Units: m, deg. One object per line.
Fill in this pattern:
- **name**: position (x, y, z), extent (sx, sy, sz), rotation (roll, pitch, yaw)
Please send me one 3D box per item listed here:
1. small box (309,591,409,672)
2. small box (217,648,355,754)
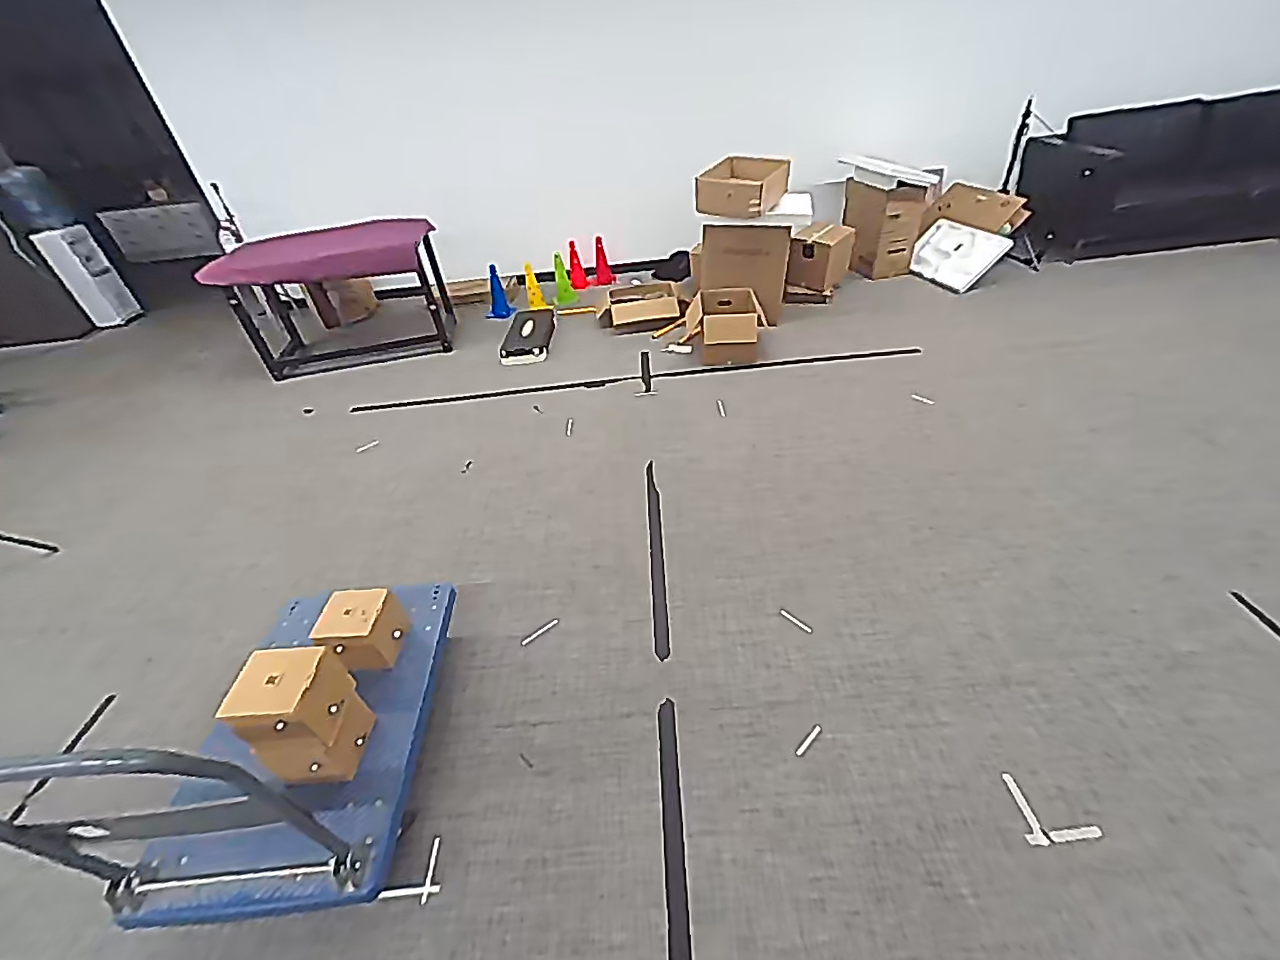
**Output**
- **small box**: position (-0.811, 0.445, 1.580), extent (0.179, 0.176, 0.168), rotation (-4, 39, 3)
- **small box**: position (-0.797, 0.509, 1.239), extent (0.179, 0.176, 0.168), rotation (-4, 38, 1)
